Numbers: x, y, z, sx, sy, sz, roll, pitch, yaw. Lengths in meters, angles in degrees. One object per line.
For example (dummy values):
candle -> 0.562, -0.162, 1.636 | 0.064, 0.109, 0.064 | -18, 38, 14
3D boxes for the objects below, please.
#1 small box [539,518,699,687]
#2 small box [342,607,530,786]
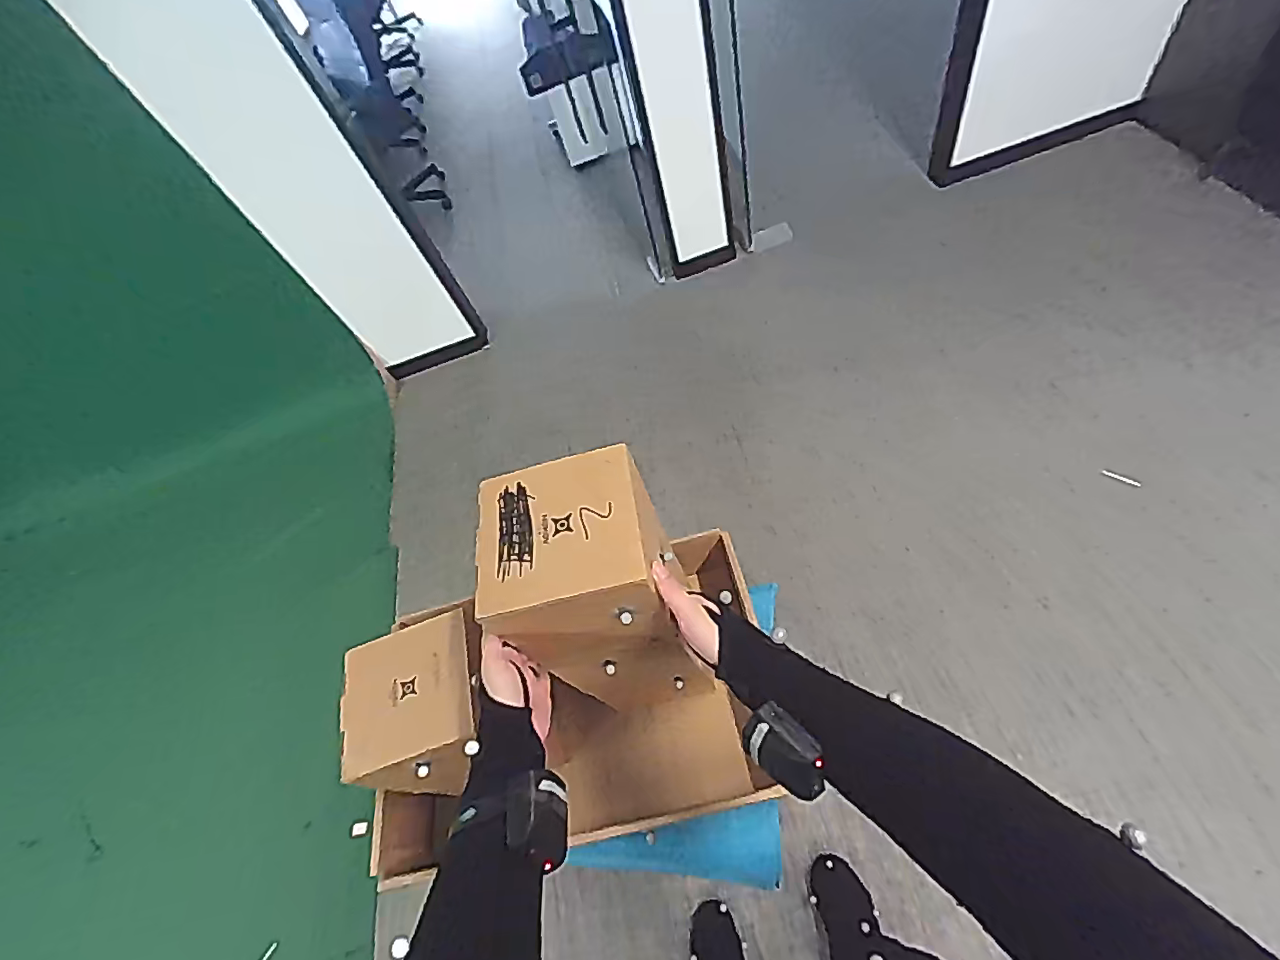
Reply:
small box -> -0.027, 0.178, 0.754 | 0.179, 0.176, 0.168 | -13, 56, 7
small box -> -0.272, 0.305, 0.746 | 0.179, 0.176, 0.168 | -20, 54, 2
